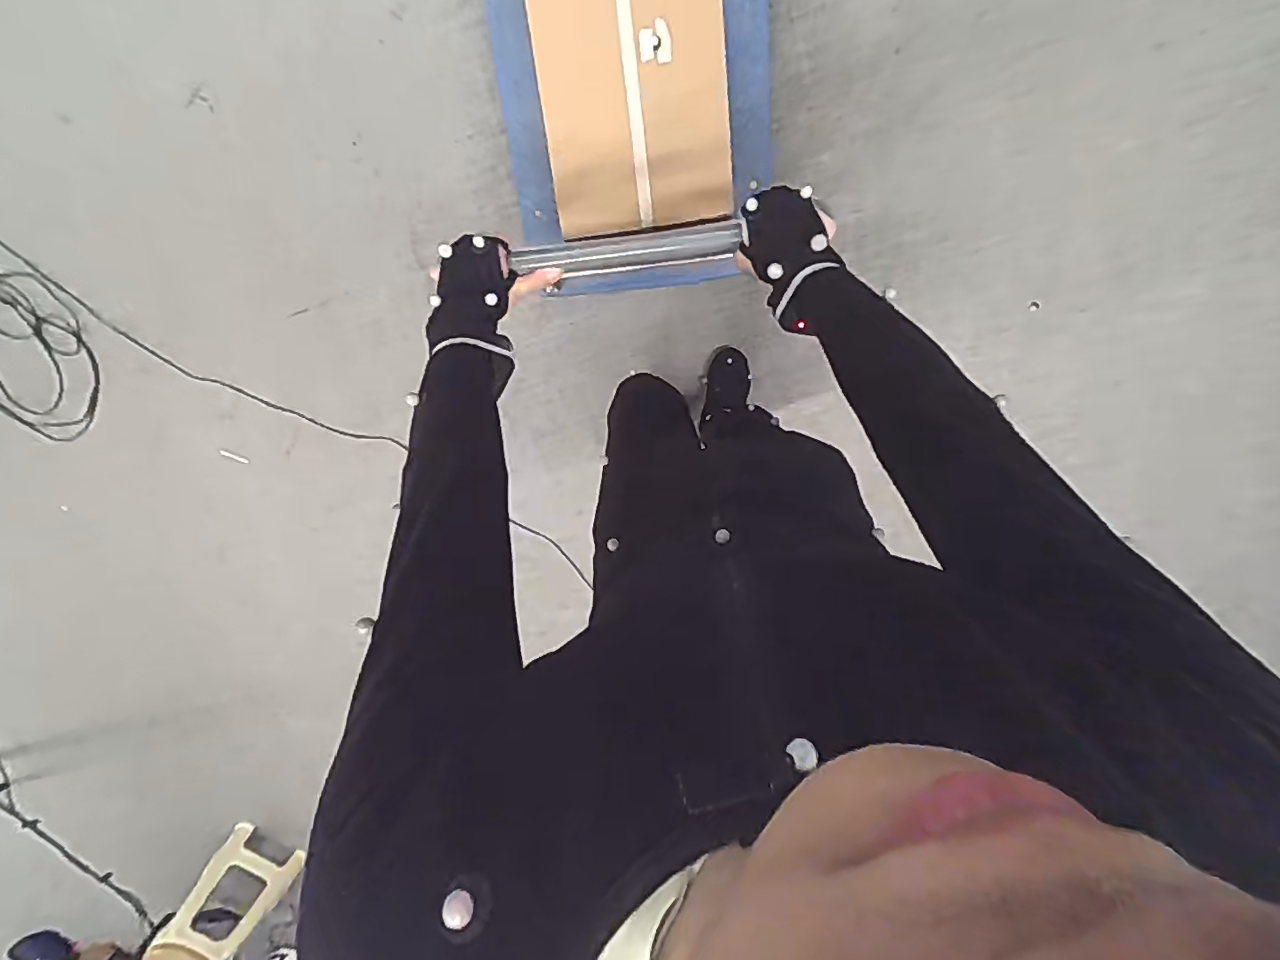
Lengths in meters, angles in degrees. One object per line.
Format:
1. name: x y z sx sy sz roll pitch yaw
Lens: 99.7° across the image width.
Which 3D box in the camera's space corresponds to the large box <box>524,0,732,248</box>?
1. large box: -0.002 -0.692 1.044 0.320 0.320 0.408 -5 109 6
